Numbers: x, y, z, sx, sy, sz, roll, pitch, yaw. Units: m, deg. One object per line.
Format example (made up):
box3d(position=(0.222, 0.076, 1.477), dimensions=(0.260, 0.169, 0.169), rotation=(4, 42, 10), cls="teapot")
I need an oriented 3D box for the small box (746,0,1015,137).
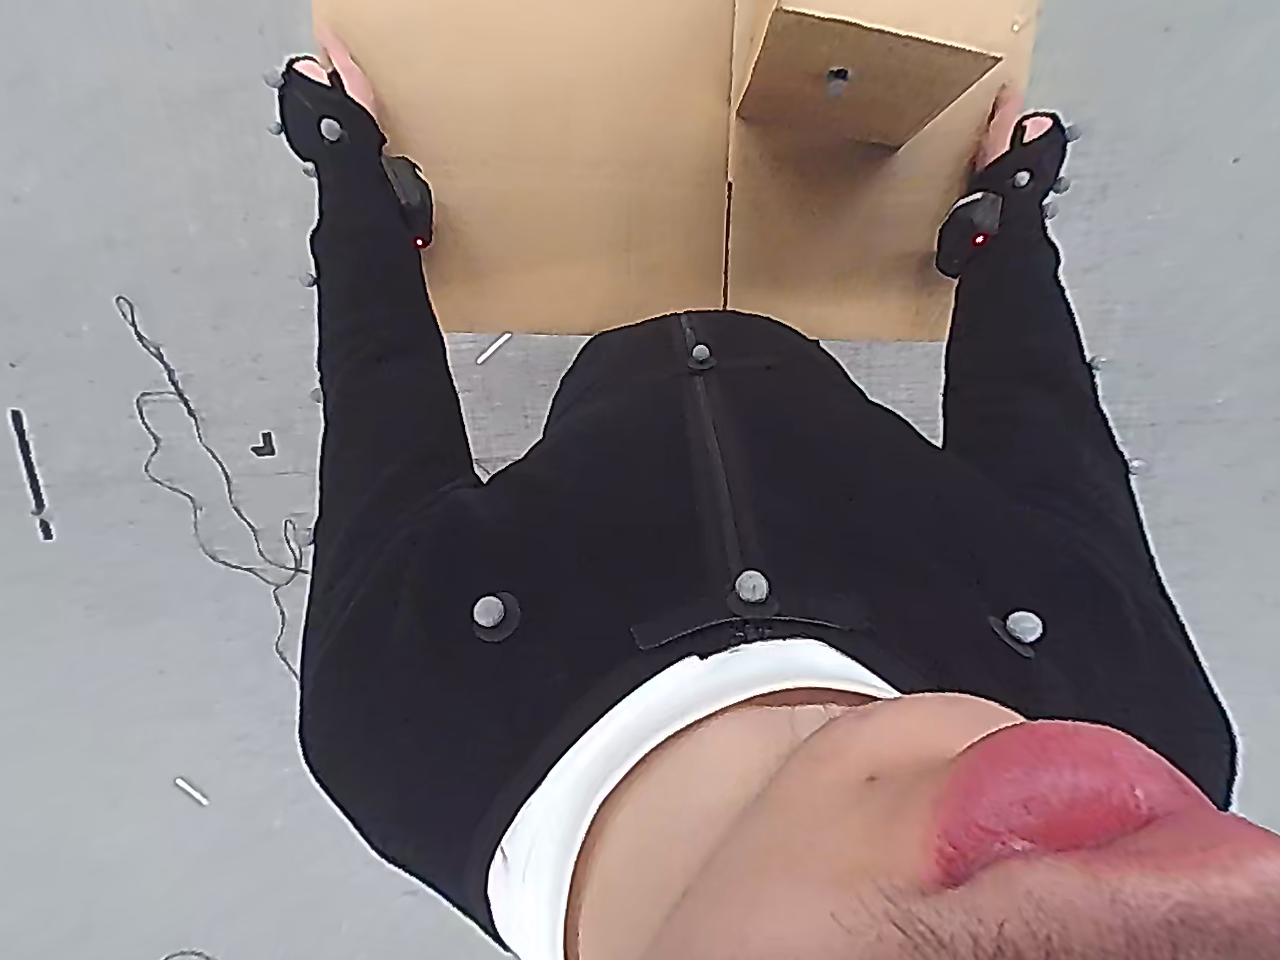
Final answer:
box3d(position=(0.201, -0.427, 0.464), dimensions=(0.179, 0.176, 0.168), rotation=(11, 102, -1), cls="small box")
